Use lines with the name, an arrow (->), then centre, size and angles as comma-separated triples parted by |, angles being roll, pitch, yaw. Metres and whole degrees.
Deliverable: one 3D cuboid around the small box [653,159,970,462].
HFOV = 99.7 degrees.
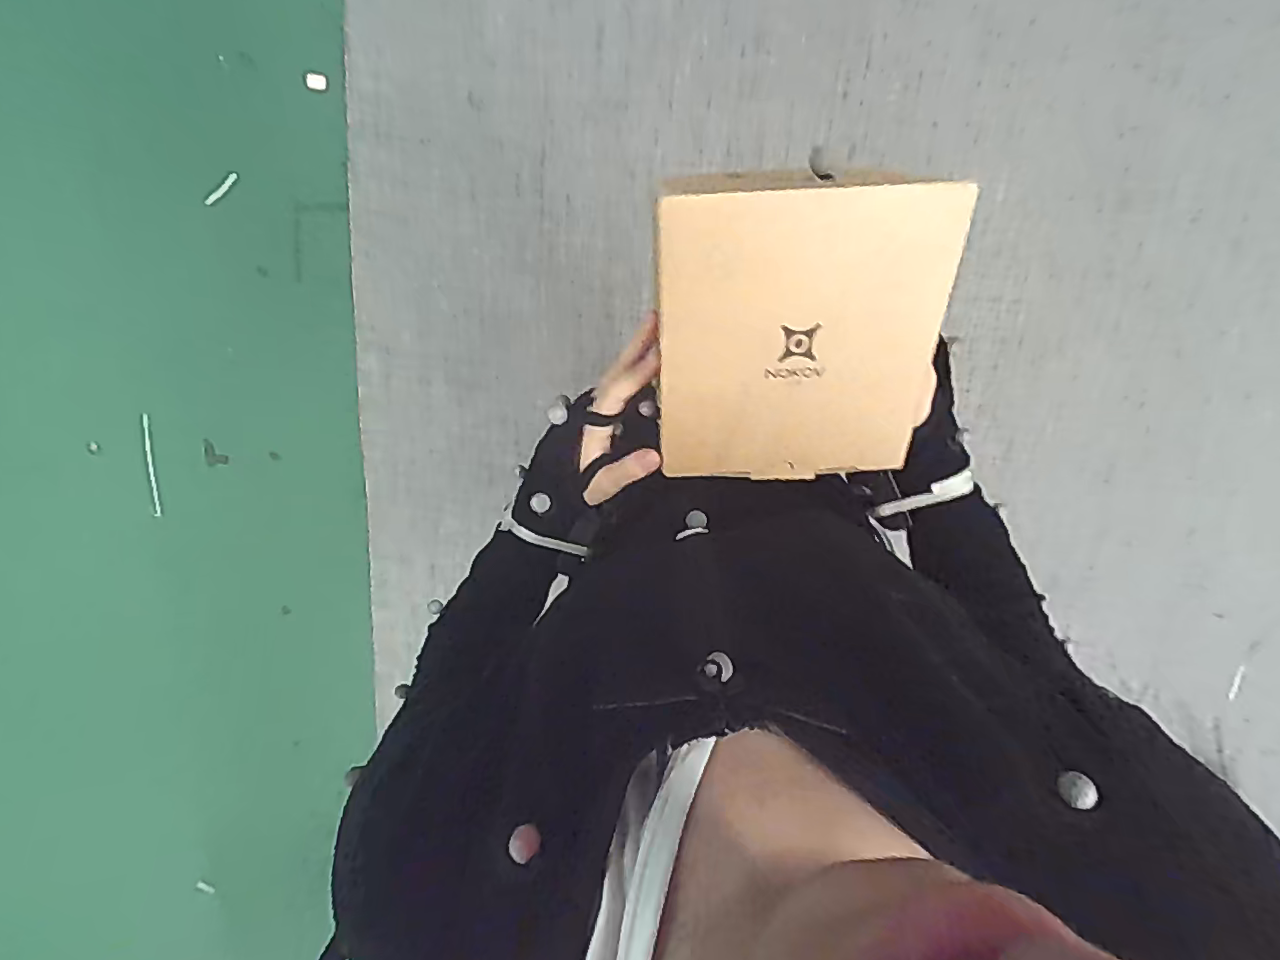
small box -> 0.097, -0.133, 0.399 | 0.168, 0.176, 0.179 | -3, 123, 1
